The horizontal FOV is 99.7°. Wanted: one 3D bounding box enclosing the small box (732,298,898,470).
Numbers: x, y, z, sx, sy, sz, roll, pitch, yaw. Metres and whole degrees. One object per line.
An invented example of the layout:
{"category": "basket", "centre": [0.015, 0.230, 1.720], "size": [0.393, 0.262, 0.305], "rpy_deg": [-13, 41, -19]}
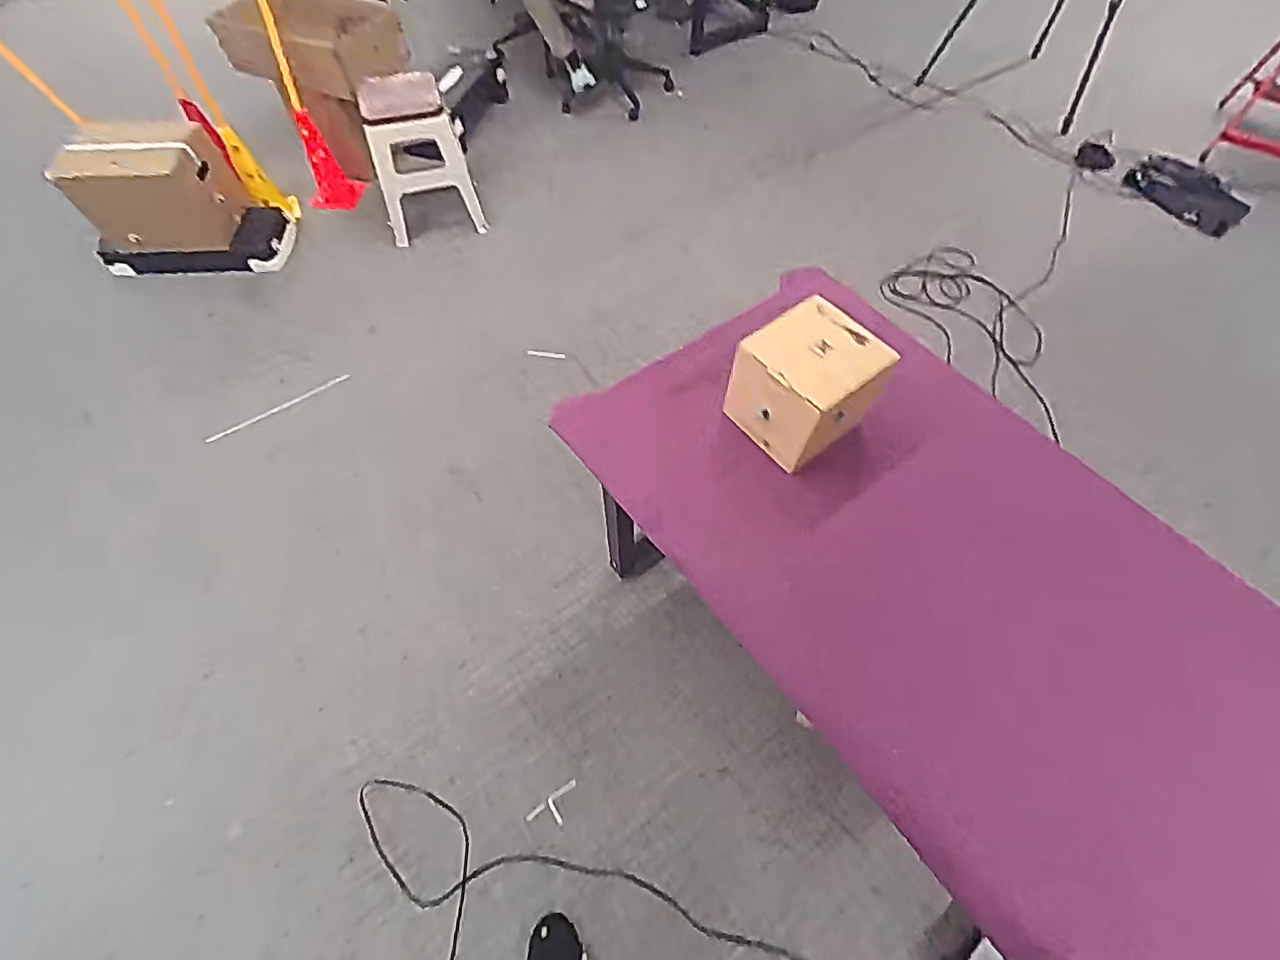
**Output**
{"category": "small box", "centre": [0.262, -0.147, 0.861], "size": [0.179, 0.176, 0.168], "rpy_deg": [-34, 66, -18]}
